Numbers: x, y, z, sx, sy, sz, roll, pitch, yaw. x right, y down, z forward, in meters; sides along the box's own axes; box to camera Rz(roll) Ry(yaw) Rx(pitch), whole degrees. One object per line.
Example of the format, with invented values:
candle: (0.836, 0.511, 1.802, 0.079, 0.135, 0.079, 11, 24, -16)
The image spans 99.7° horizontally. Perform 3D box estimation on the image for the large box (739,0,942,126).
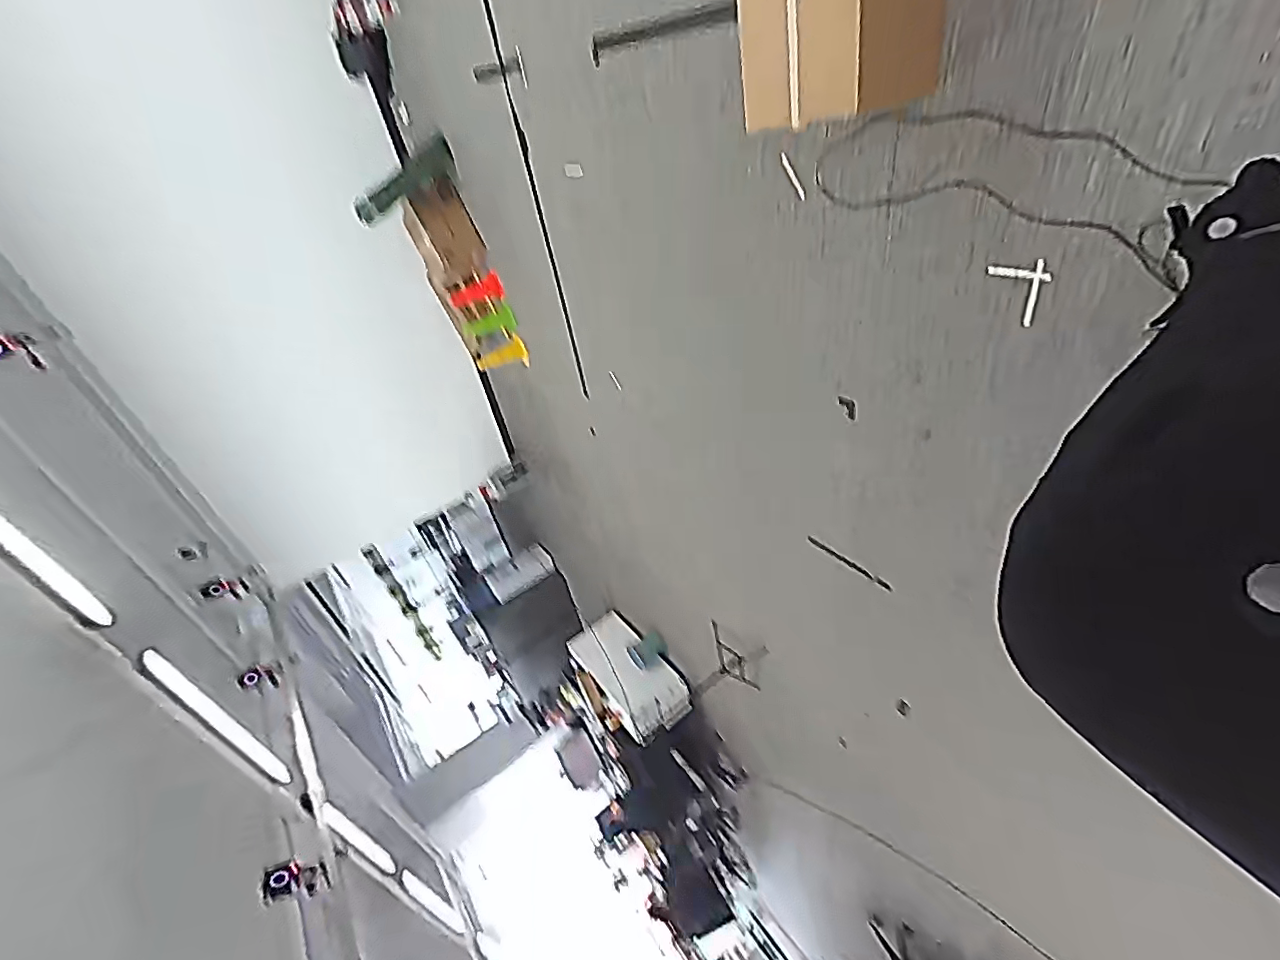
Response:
large box: (0.436, -1.046, 1.179, 0.320, 0.320, 0.408, 30, 141, 46)
